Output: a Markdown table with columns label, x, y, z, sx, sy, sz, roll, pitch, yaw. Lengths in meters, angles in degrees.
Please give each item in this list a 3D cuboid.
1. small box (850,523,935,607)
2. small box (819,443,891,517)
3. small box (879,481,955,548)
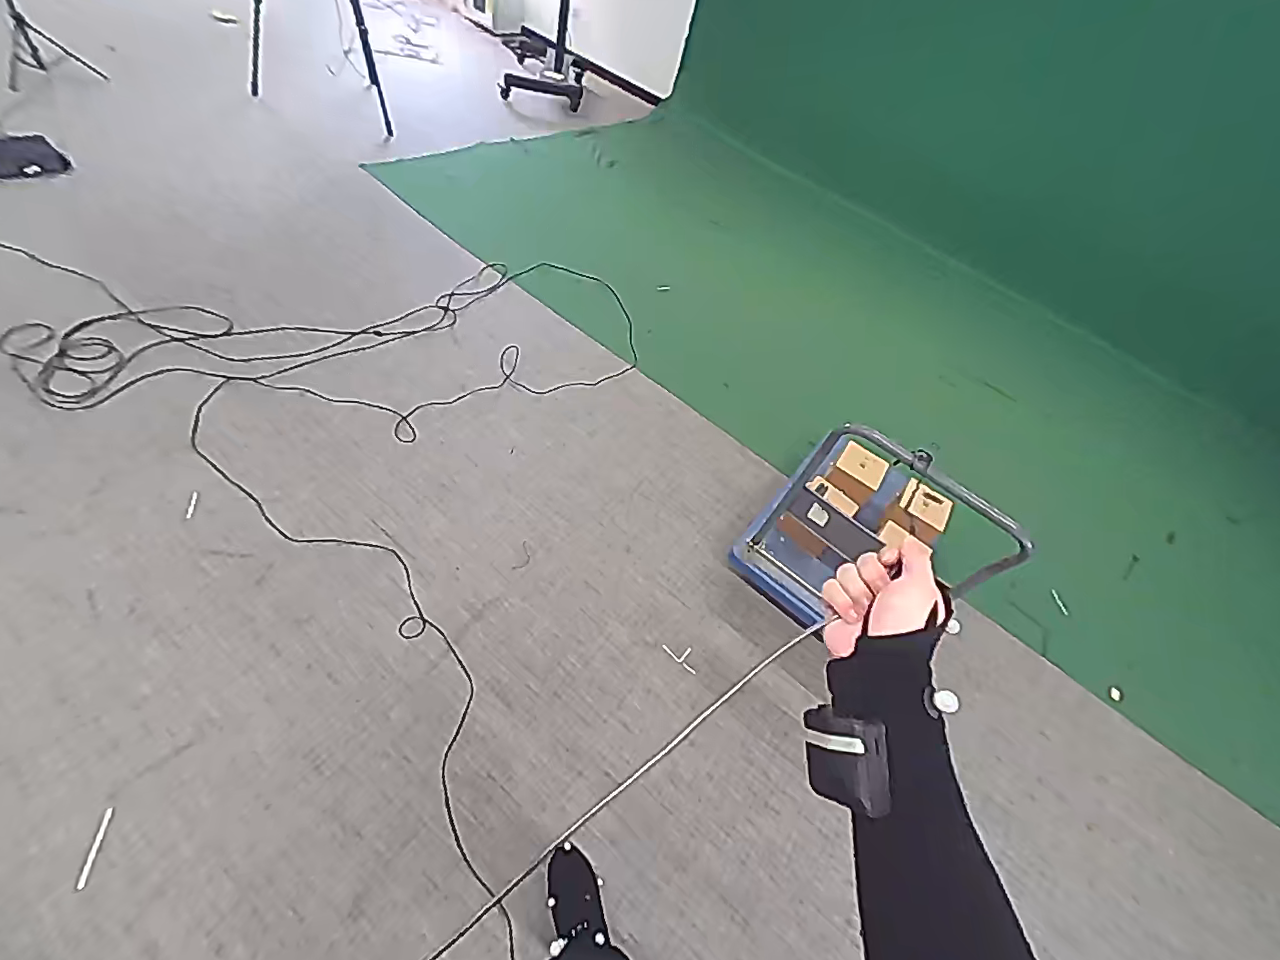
| label | x | y | z | sx | sy | sz | roll | pitch | yaw |
| --- | --- | --- | --- | --- | --- | --- | --- | --- | --- |
| small box | 0.831 | 0.283 | 1.790 | 0.168 | 0.176 | 0.179 | 38 | 52 | 16 |
| small box | 0.792 | 0.004 | 2.007 | 0.168 | 0.176 | 0.179 | 35 | 51 | 12 |
| small box | 0.995 | 0.142 | 1.951 | 0.168 | 0.176 | 0.179 | 34 | 52 | 13 |
